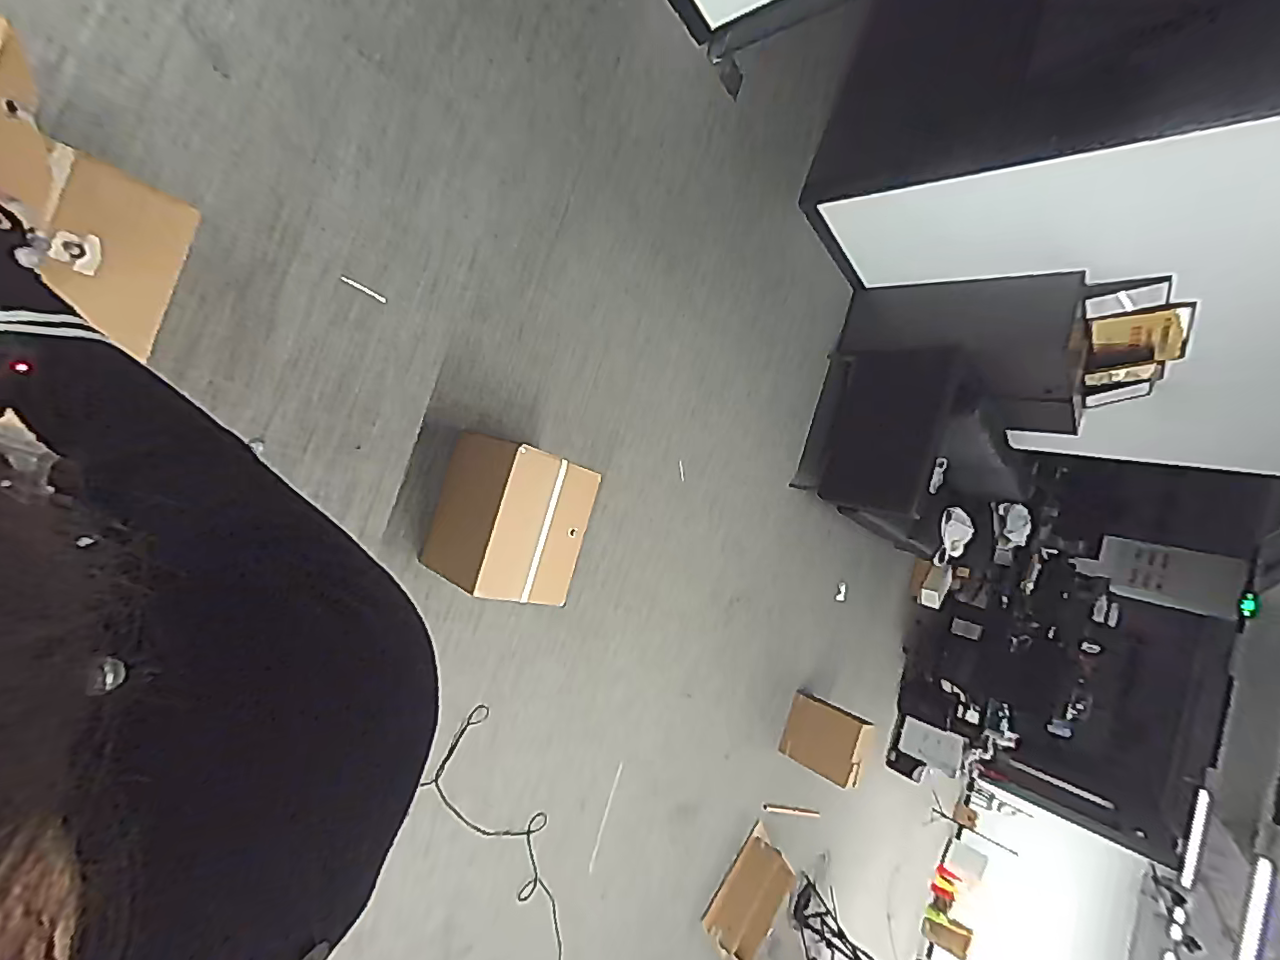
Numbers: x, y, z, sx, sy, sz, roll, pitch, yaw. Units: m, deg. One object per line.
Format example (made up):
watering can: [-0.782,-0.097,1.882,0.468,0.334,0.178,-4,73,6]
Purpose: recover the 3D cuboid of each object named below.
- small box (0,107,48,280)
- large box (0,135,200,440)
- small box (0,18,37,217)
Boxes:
small box: [-0.717,-0.314,0.521,0.168,0.176,0.179,20,86,-44]
large box: [-0.968,-0.305,0.857,0.320,0.320,0.408,21,83,-46]
small box: [-0.603,-0.292,0.406,0.168,0.176,0.179,20,86,-43]
